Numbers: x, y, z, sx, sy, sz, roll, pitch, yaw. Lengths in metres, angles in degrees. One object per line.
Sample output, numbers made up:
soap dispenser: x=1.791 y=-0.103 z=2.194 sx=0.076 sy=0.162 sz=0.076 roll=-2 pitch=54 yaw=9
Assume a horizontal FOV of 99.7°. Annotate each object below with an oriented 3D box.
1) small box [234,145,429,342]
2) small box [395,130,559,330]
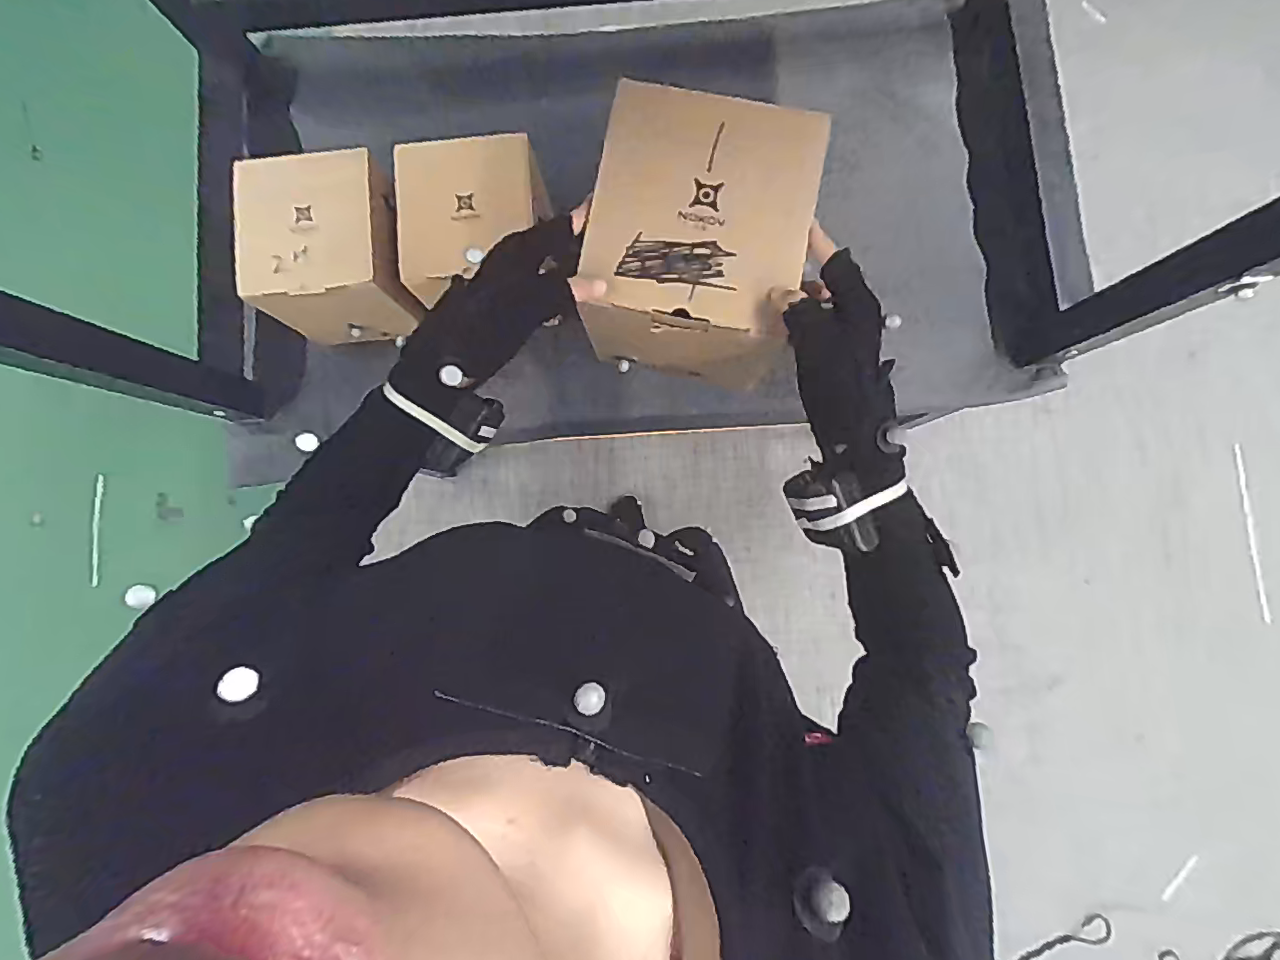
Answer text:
small box: x=-0.397 y=-0.303 z=0.720 sx=0.168 sy=0.176 sz=0.179 roll=-6 pitch=84 yaw=1
small box: x=-0.206 y=-0.320 z=0.720 sx=0.168 sy=0.176 sz=0.179 roll=-5 pitch=85 yaw=1
